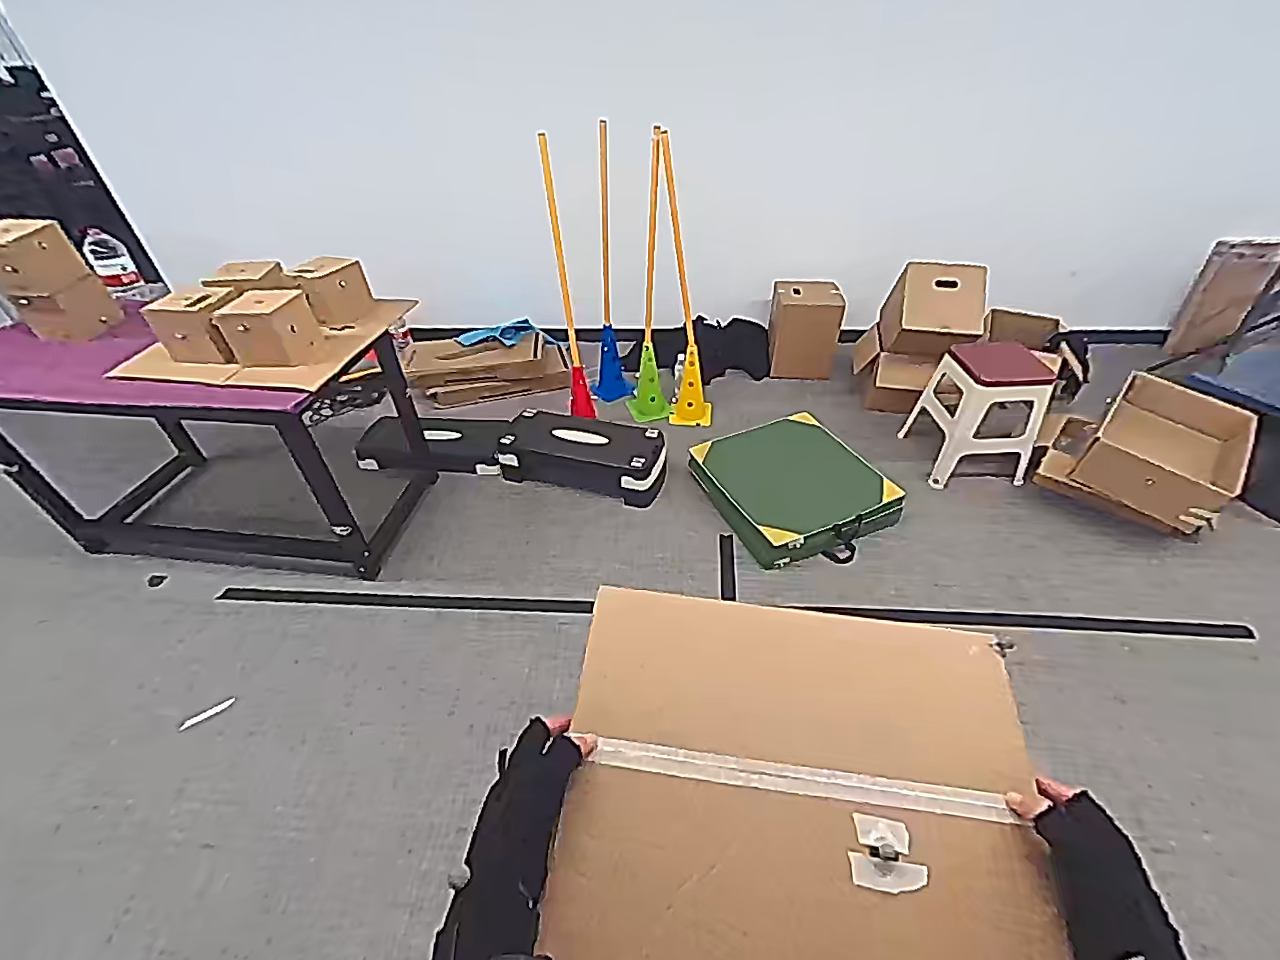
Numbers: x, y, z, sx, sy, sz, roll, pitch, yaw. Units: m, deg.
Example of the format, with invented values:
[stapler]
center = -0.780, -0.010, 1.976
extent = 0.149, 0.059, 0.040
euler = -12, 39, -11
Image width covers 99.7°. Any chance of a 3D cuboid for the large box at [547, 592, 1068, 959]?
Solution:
[large box]
center = 0.139, 0.348, 0.604
extent = 0.408, 0.320, 0.320
euler = 6, 55, 4
